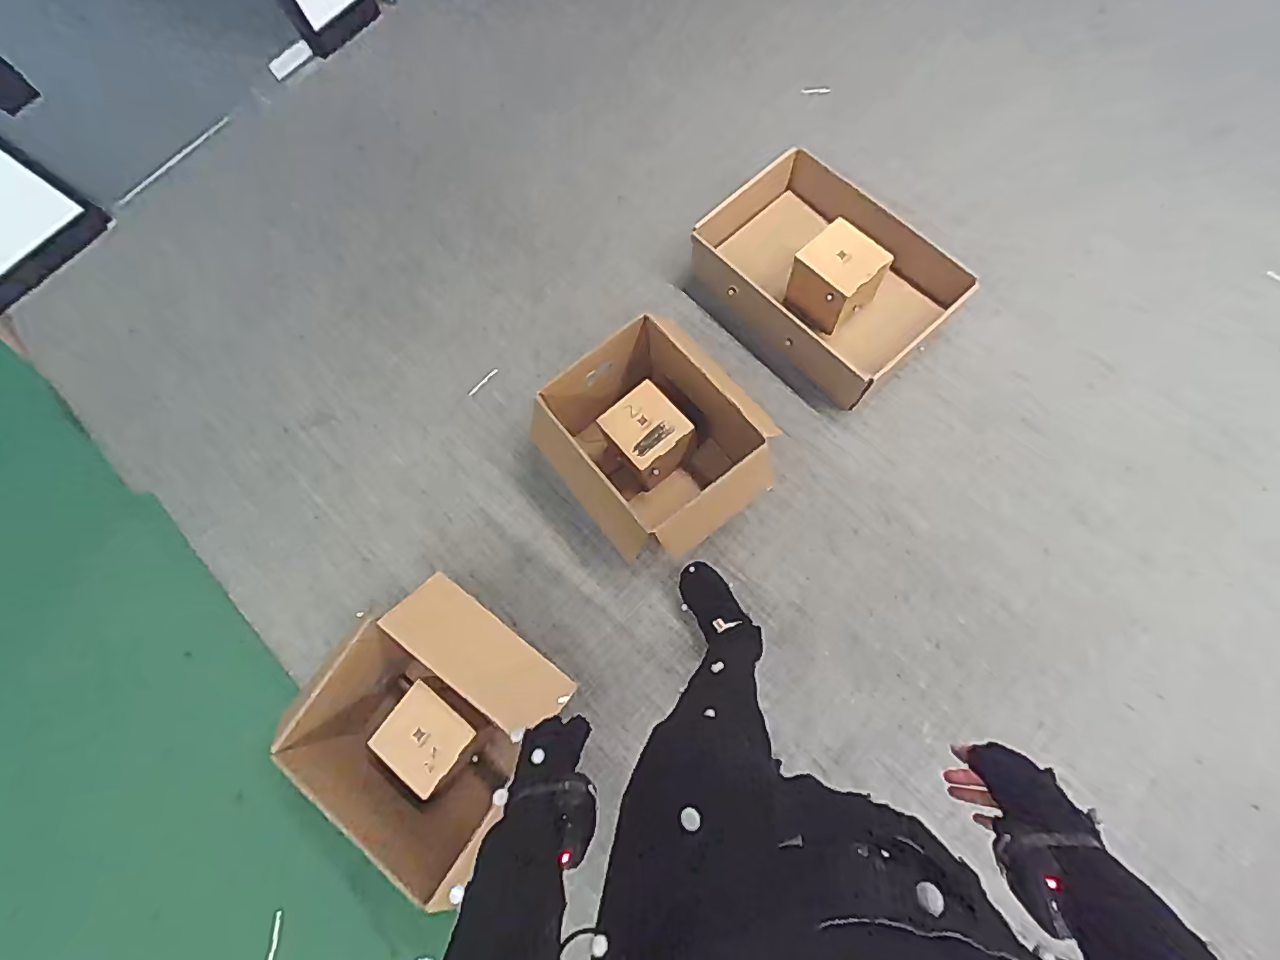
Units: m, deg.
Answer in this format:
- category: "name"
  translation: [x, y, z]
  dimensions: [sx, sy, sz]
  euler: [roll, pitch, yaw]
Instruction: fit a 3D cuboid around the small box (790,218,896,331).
- category: "small box"
  translation: [0.510, -0.521, 1.391]
  dimensions: [0.168, 0.176, 0.179]
  euler: [-42, 73, -7]
